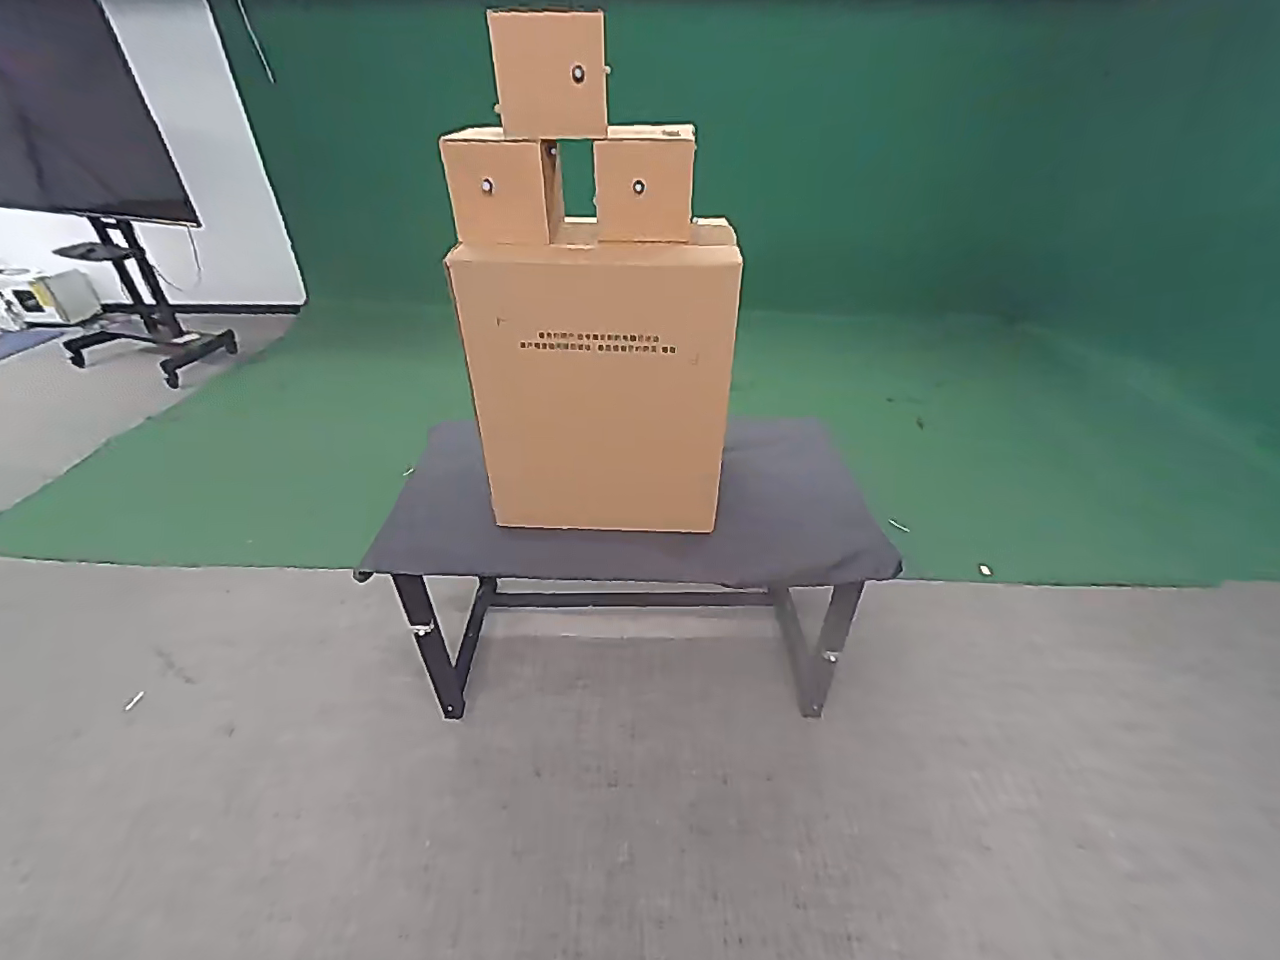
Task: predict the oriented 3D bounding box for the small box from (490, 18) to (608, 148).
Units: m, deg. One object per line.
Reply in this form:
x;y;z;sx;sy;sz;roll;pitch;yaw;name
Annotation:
-0.146;-0.675;0.925;0.179;0.176;0.168;-5;38;-4;small box

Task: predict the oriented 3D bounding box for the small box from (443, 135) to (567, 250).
-0.244;-0.546;1.026;0.179;0.176;0.168;2;39;3;small box

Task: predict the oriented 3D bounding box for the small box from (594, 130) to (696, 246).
0.014;-0.555;1.031;0.179;0.176;0.168;2;40;4;small box
